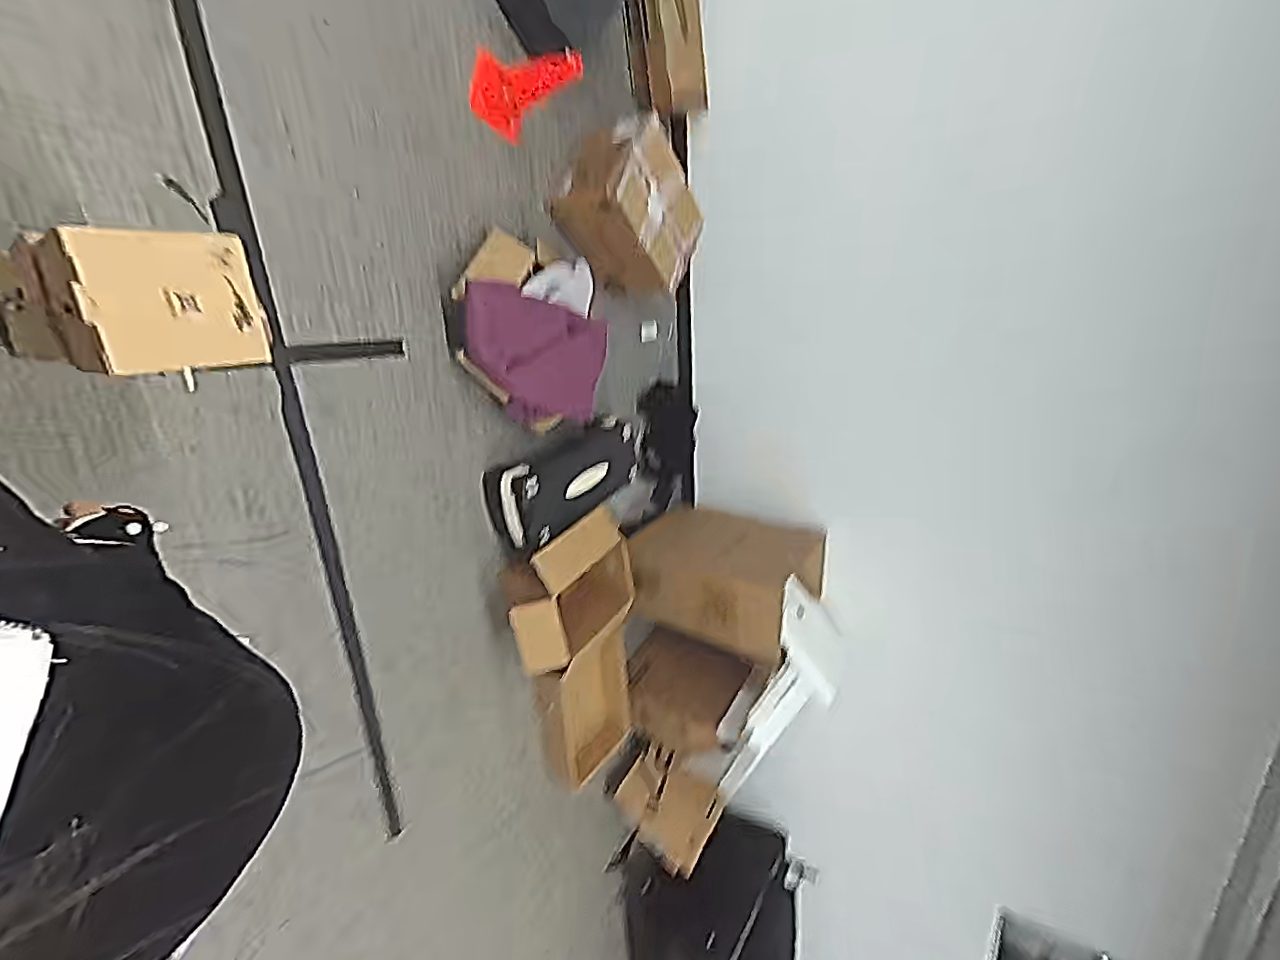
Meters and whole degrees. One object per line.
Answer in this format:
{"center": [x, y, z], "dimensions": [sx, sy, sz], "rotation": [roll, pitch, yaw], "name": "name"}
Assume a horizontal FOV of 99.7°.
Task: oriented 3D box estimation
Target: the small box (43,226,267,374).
{"center": [-0.647, -0.231, 0.724], "dimensions": [0.179, 0.176, 0.168], "rotation": [-24, 117, -50], "name": "small box"}

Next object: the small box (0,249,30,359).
{"center": [-1.050, -0.313, 0.993], "dimensions": [0.168, 0.176, 0.179], "rotation": [-19, 114, -52], "name": "small box"}

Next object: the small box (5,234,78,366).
{"center": [-0.787, -0.258, 0.807], "dimensions": [0.179, 0.176, 0.168], "rotation": [-19, 113, -52], "name": "small box"}
